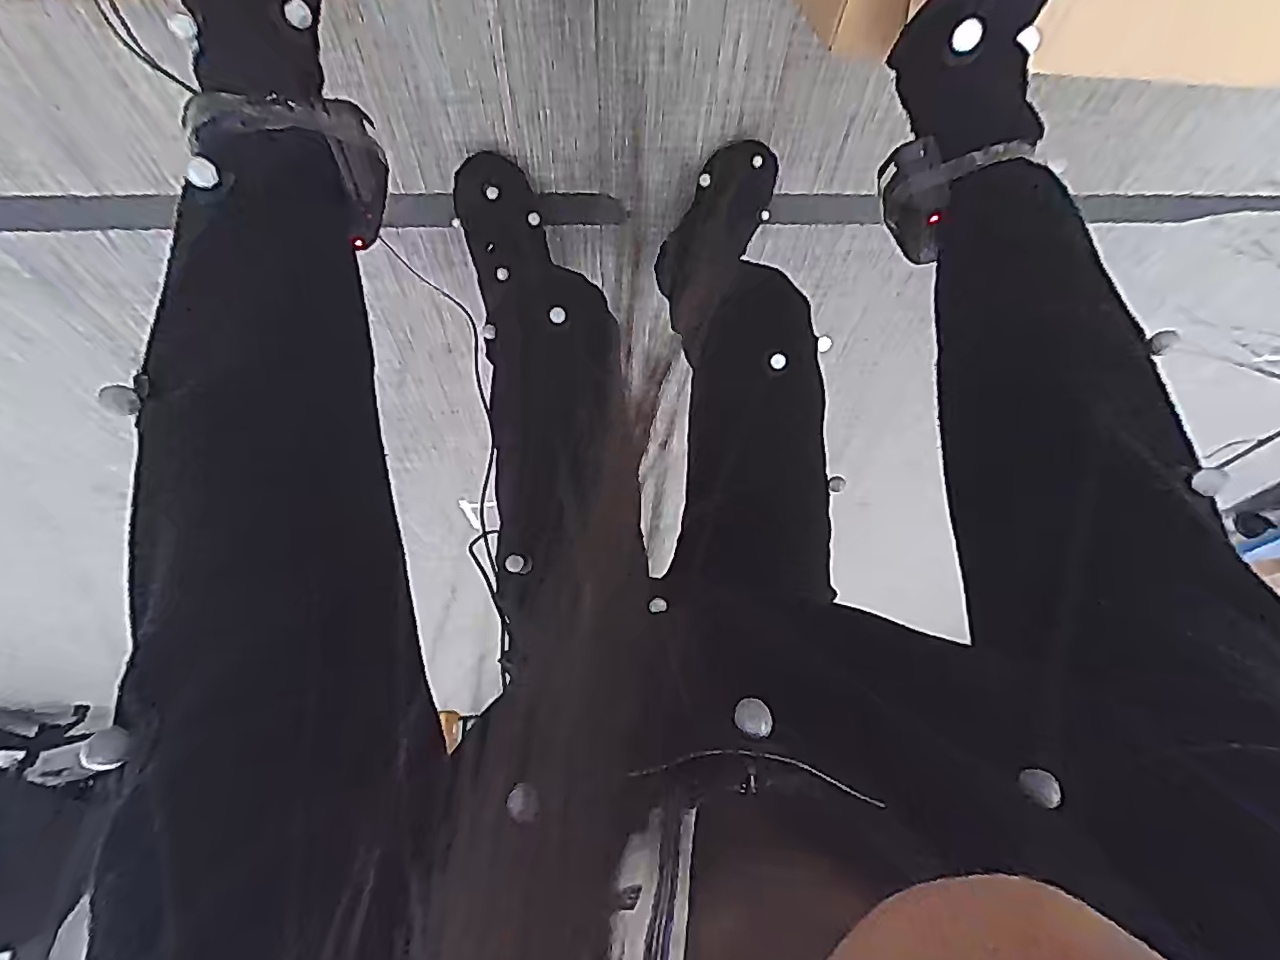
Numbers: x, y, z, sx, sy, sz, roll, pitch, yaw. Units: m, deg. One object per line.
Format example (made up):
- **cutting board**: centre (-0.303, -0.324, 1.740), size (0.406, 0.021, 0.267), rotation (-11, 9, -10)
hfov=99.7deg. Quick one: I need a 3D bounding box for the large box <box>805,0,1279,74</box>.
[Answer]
- **large box**: centre (0.330, -0.534, 0.373), size (0.408, 0.320, 0.320), rotation (-3, 150, -9)
